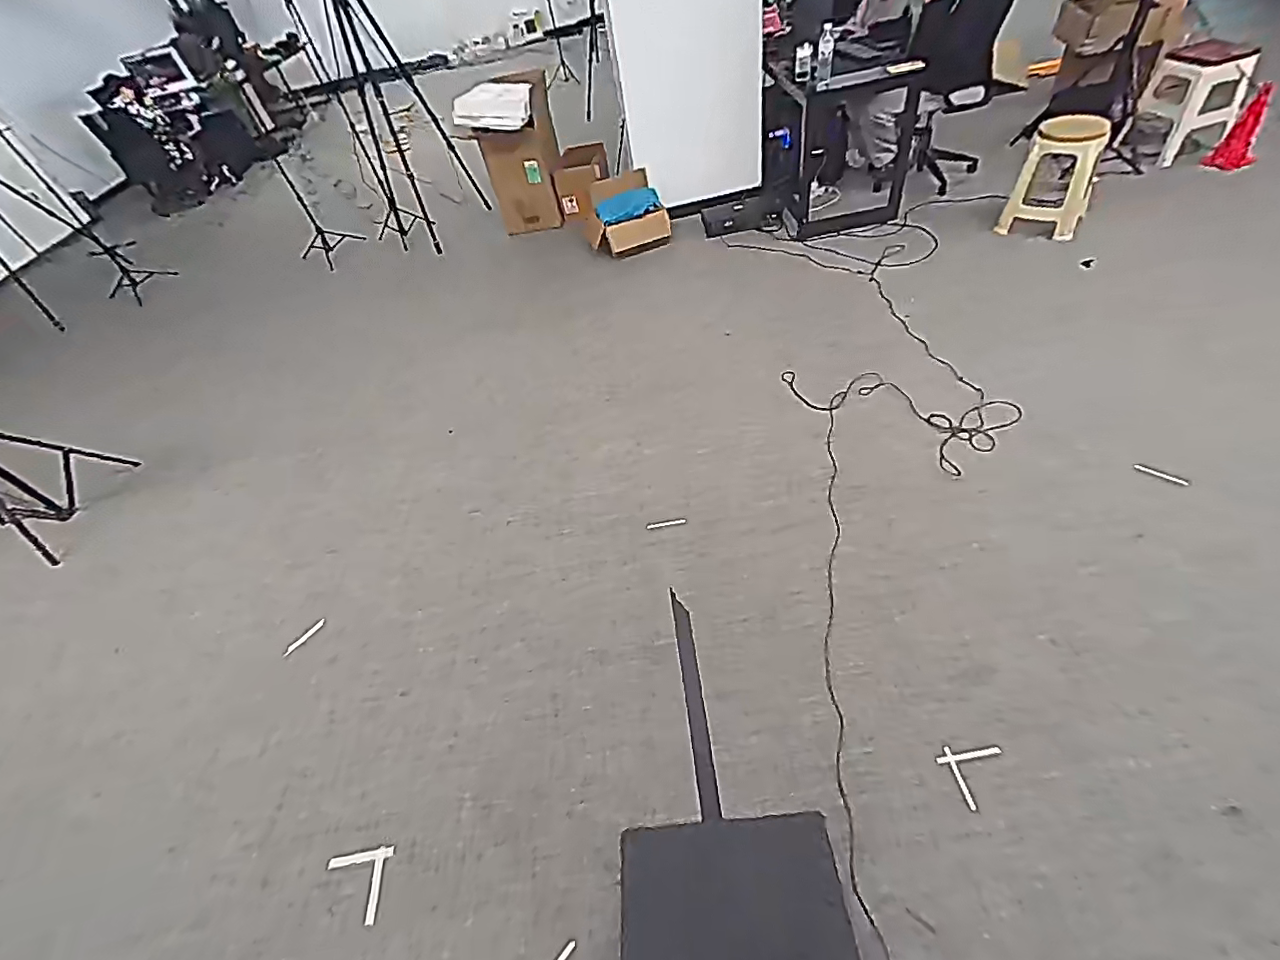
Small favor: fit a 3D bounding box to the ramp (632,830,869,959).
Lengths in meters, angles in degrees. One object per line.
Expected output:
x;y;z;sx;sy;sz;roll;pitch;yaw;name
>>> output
0.233;1.161;0.896;0.509;0.206;0.991;-12;45;4;ramp
